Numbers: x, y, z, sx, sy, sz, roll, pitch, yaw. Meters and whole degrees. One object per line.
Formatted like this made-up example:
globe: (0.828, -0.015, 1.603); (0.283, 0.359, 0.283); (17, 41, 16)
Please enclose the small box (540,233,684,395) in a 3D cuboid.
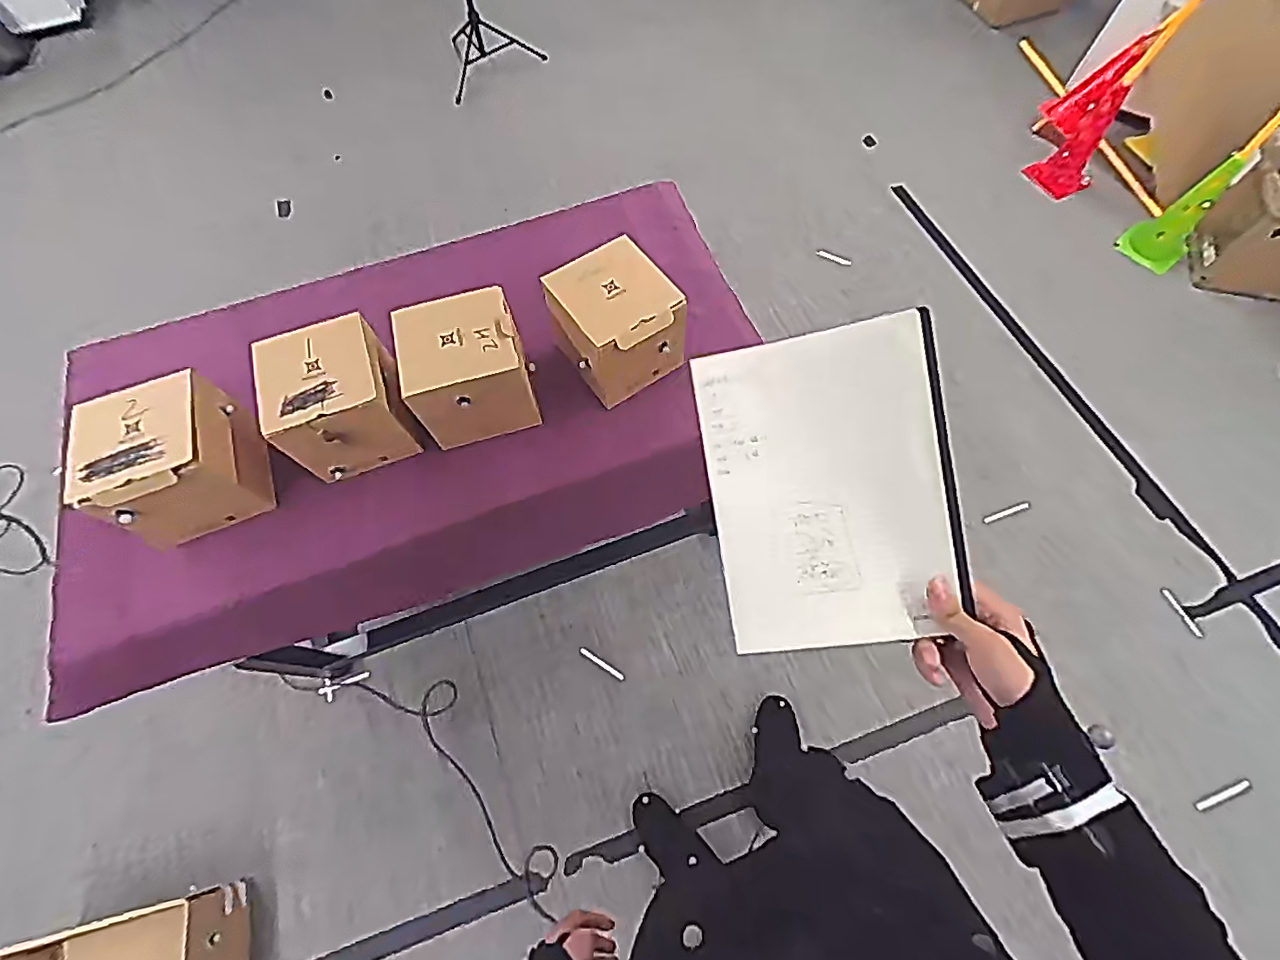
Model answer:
small box: (-0.041, -0.267, 0.911); (0.168, 0.176, 0.179); (-32, 68, -12)
